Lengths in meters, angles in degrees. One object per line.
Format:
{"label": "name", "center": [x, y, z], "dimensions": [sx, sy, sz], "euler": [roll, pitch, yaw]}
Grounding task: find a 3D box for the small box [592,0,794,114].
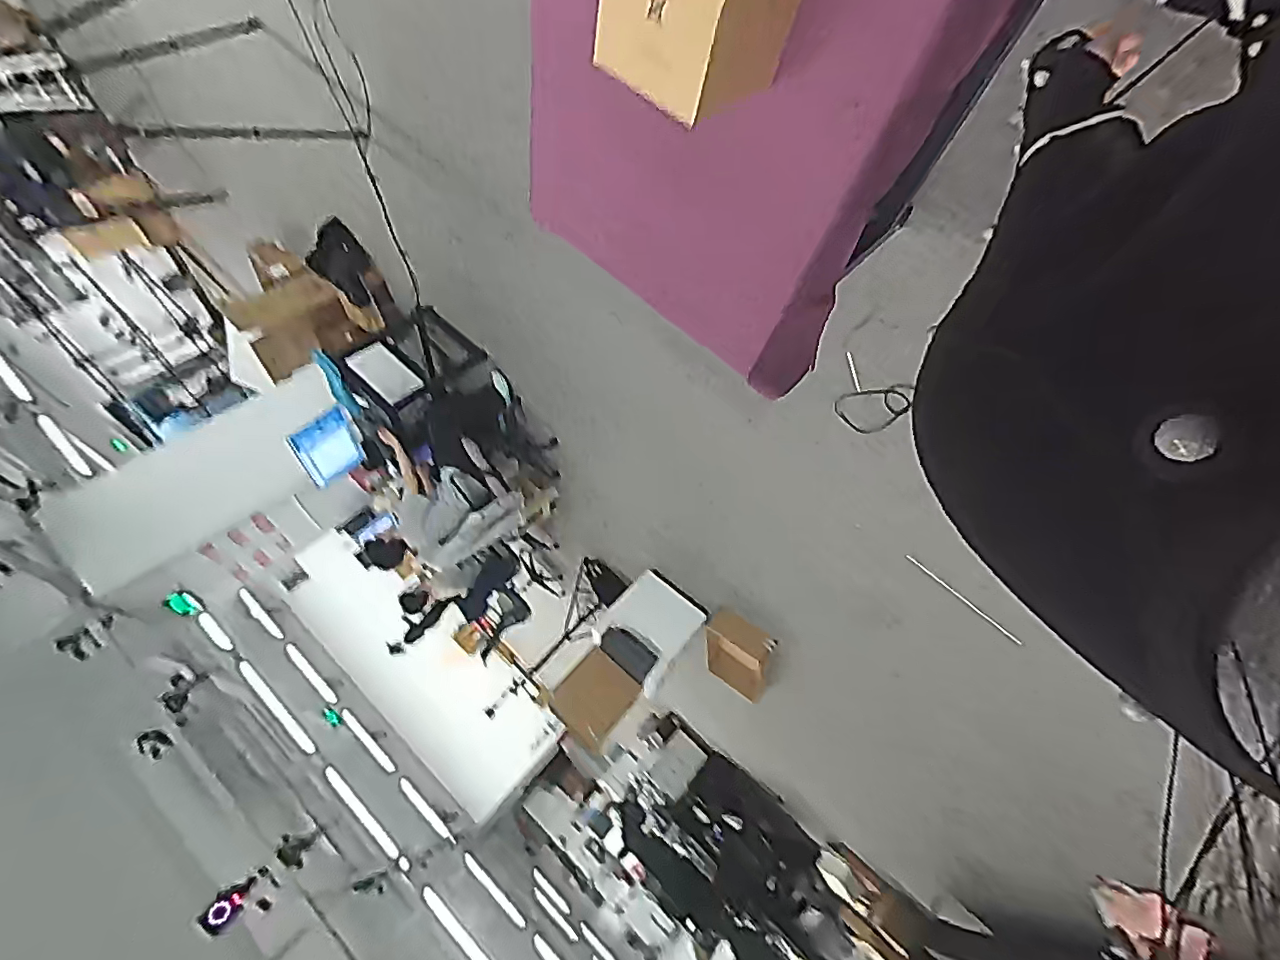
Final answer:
{"label": "small box", "center": [0.069, -0.567, 0.611], "dimensions": [0.168, 0.176, 0.179], "euler": [42, 152, 12]}
